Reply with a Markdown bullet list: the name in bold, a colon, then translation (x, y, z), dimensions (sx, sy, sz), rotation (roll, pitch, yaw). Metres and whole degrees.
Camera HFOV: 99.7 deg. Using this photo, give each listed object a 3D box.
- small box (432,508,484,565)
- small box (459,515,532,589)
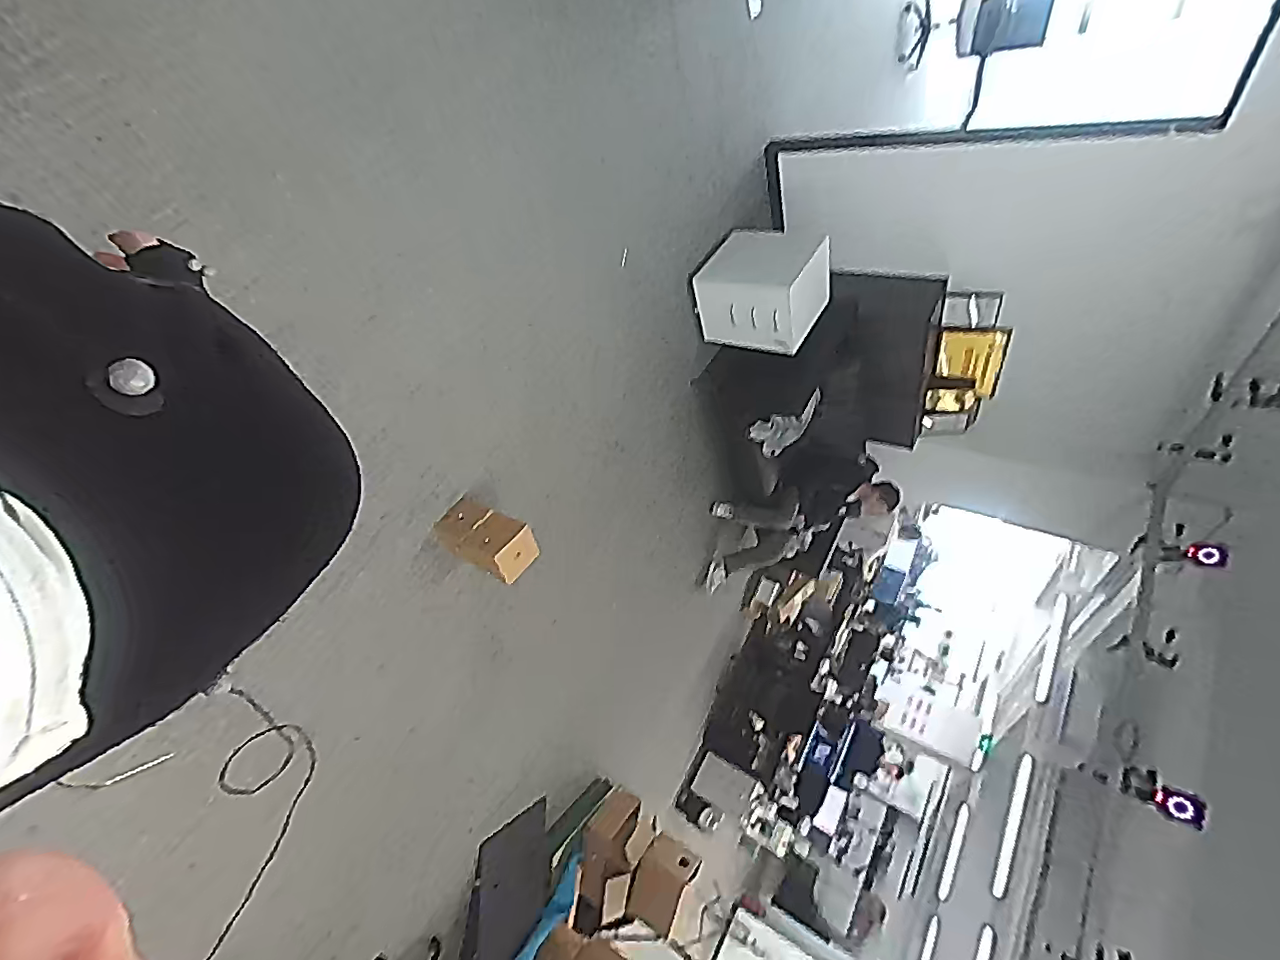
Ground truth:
- **small box**: translation (-0.652, 0.218, 2.039), dimensions (0.168, 0.176, 0.179), rotation (30, 78, -61)
- **small box**: translation (-0.528, 0.258, 1.955), dimensions (0.179, 0.176, 0.168), rotation (-49, 144, -35)
